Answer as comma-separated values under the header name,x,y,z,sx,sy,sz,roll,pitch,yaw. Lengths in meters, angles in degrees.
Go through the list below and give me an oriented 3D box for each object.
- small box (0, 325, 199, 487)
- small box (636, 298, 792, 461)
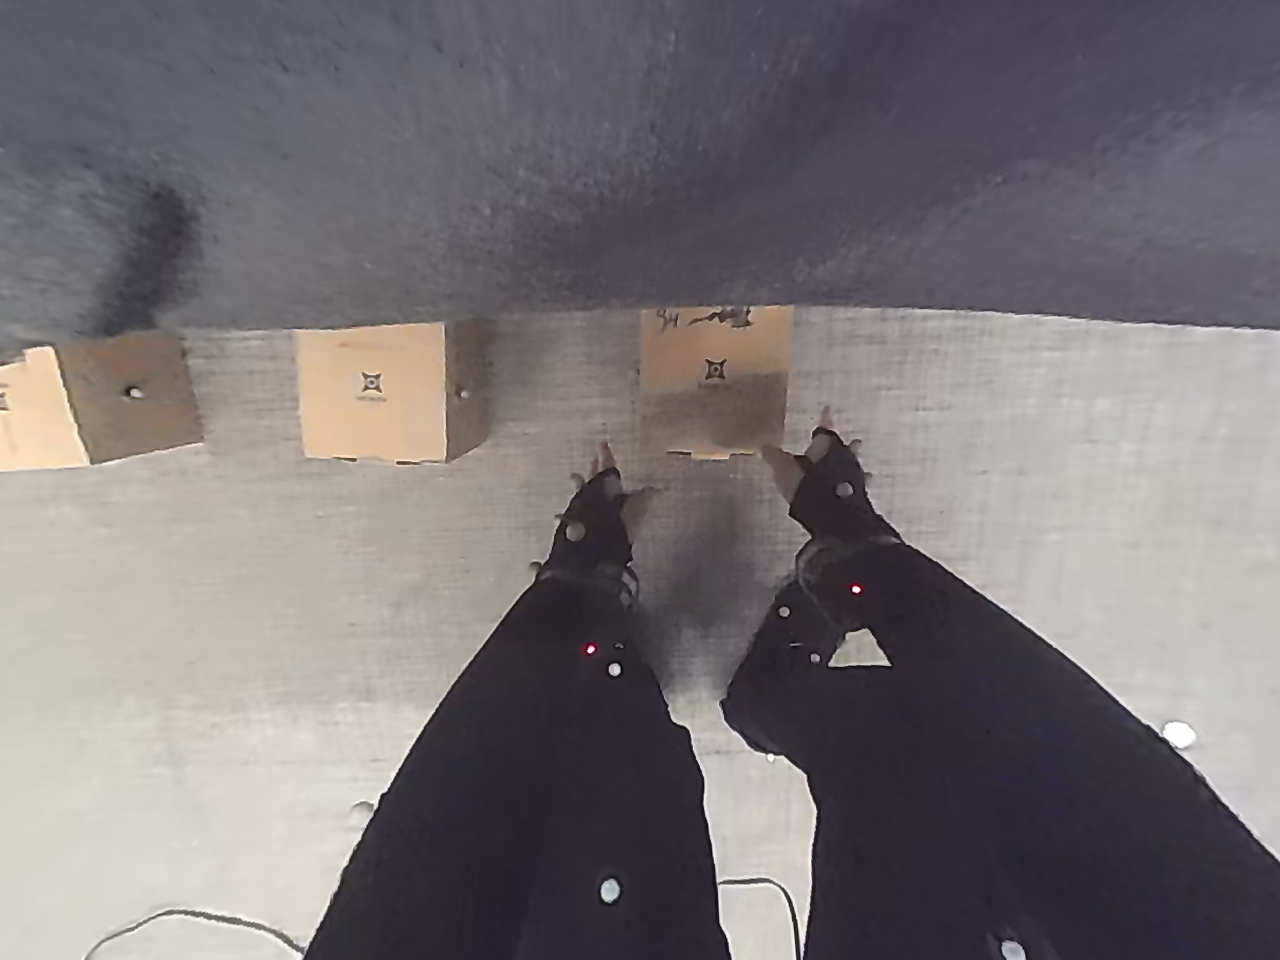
name,x,y,z,sx,sy,sz,roll,pitch,yaw
small box,-0.713,-0.095,0.678,0.168,0.176,0.179,-4,104,2
small box,0.080,-0.126,0.669,0.168,0.176,0.179,1,102,0
